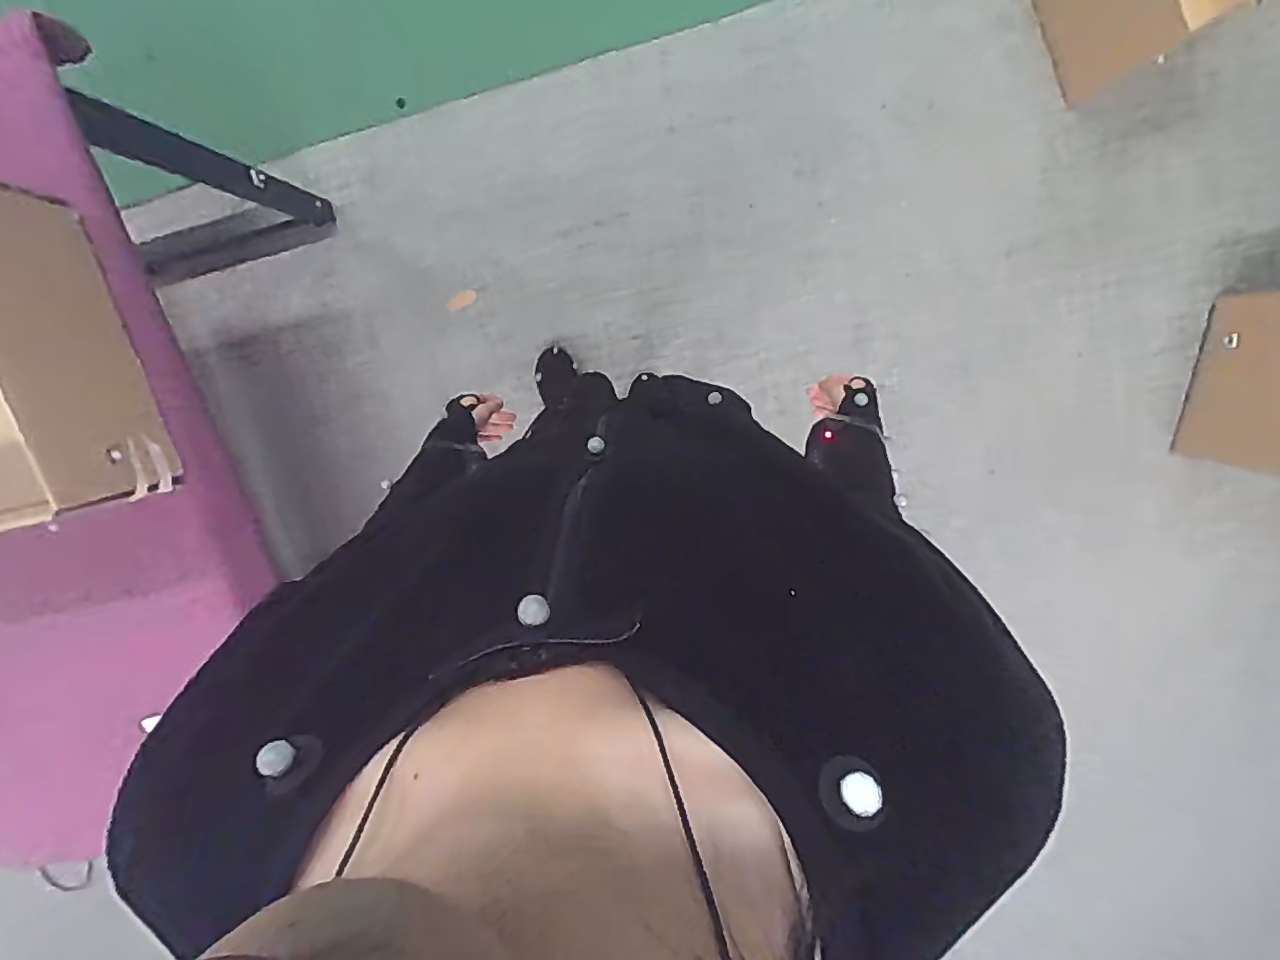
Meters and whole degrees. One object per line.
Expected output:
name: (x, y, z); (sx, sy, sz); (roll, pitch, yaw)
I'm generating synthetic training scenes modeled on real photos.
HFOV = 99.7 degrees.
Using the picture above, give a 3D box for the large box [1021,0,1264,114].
large box: (1.033, -1.067, 1.082); (0.320, 0.320, 0.408); (-28, 99, 7)
